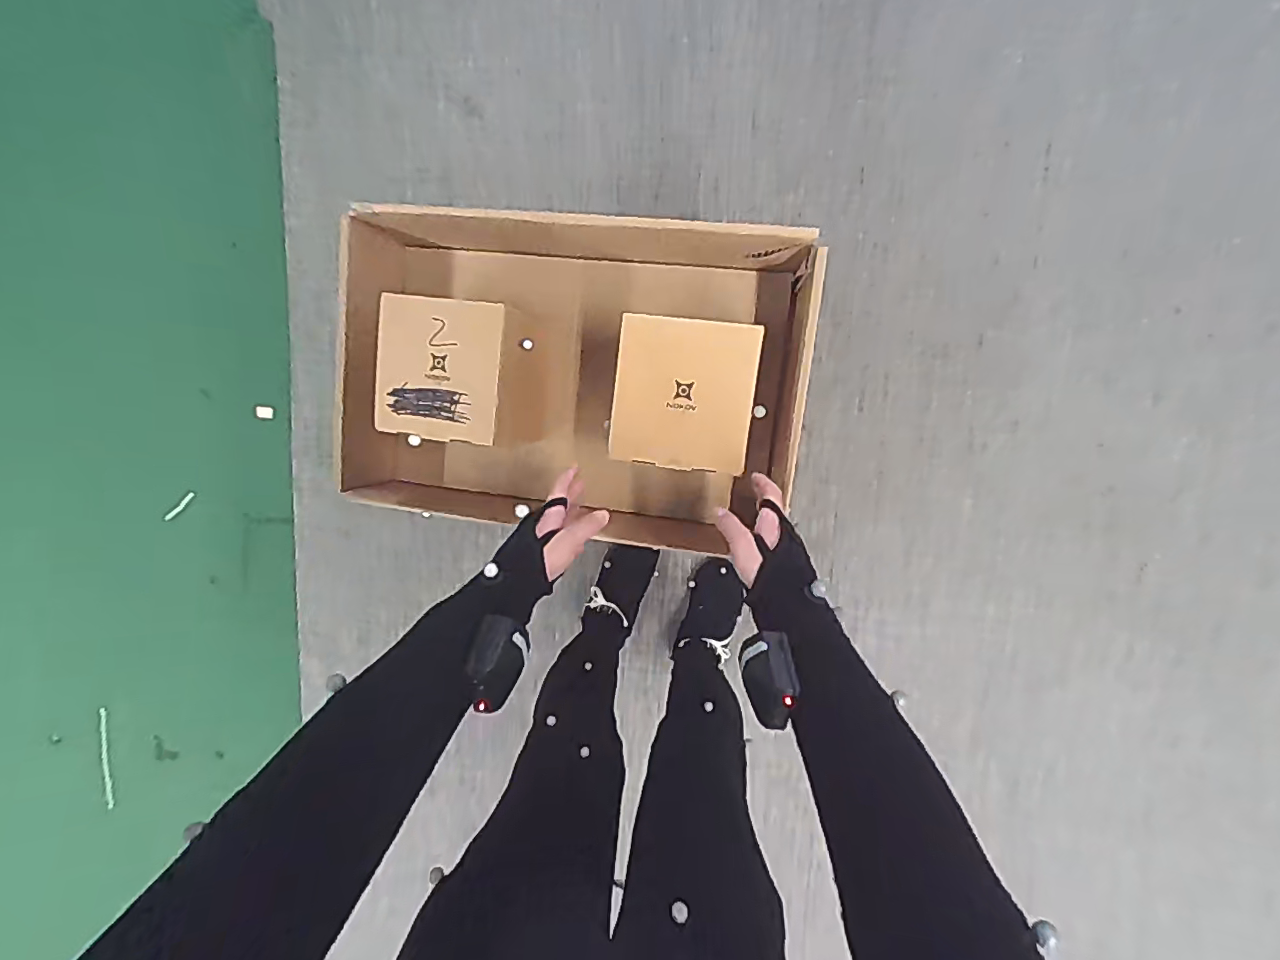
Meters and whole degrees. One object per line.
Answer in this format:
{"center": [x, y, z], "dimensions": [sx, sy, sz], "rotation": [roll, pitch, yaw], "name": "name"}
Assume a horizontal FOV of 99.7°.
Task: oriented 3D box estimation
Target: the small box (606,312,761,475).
{"center": [0.059, -0.111, 0.708], "dimensions": [0.168, 0.176, 0.179], "rotation": [7, 99, 8], "name": "small box"}
